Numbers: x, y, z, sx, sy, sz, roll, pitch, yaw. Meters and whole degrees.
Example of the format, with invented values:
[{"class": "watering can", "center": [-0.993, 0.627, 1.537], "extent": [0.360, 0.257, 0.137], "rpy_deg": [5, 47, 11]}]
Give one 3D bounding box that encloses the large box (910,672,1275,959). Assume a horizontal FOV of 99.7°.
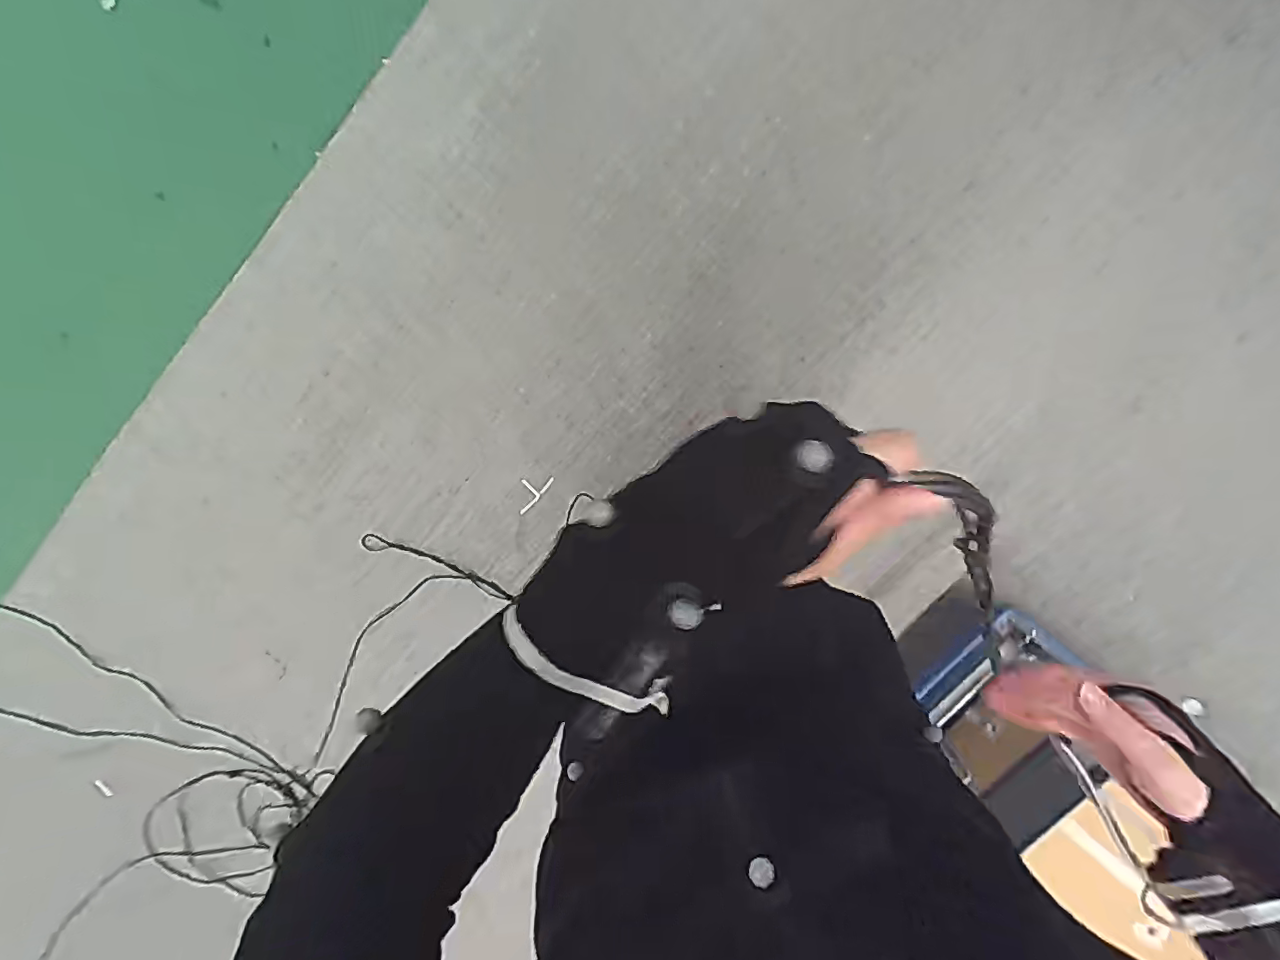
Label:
[{"class": "large box", "center": [0.857, 0.680, 1.093], "extent": [0.408, 0.320, 0.320], "rpy_deg": [40, 100, -2]}]
